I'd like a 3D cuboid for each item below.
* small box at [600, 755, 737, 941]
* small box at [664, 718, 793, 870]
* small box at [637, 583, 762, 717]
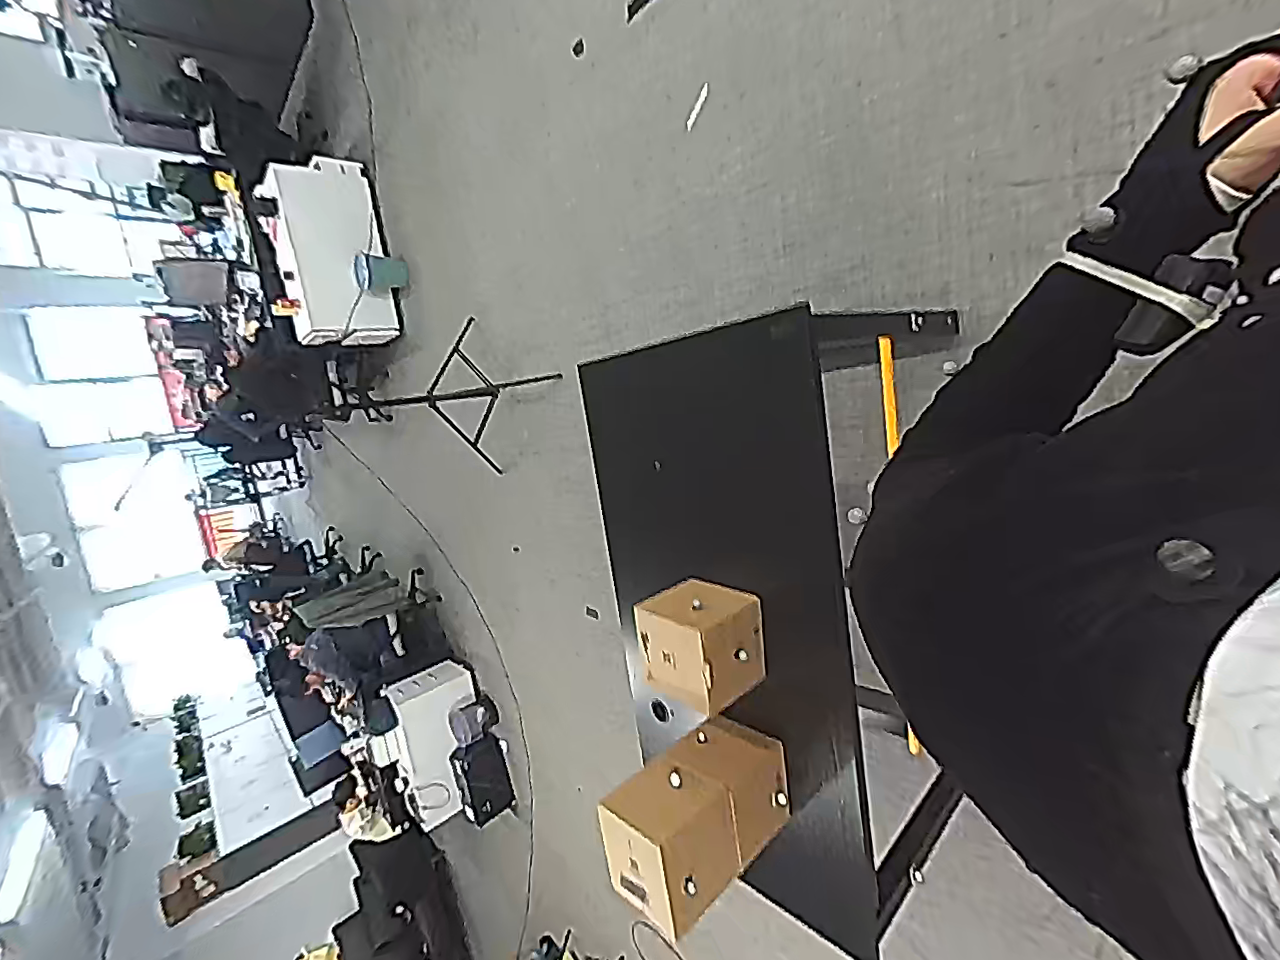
[{"bbox_3d":[0.055,0.633,0.956,0.168,0.176,0.179,-1,101,49],"label":"small box"},{"bbox_3d":[0.175,0.599,1.063,0.179,0.176,0.168,0,103,48],"label":"small box"},{"bbox_3d":[0.120,0.310,1.033,0.179,0.176,0.168,5,106,47],"label":"small box"}]
